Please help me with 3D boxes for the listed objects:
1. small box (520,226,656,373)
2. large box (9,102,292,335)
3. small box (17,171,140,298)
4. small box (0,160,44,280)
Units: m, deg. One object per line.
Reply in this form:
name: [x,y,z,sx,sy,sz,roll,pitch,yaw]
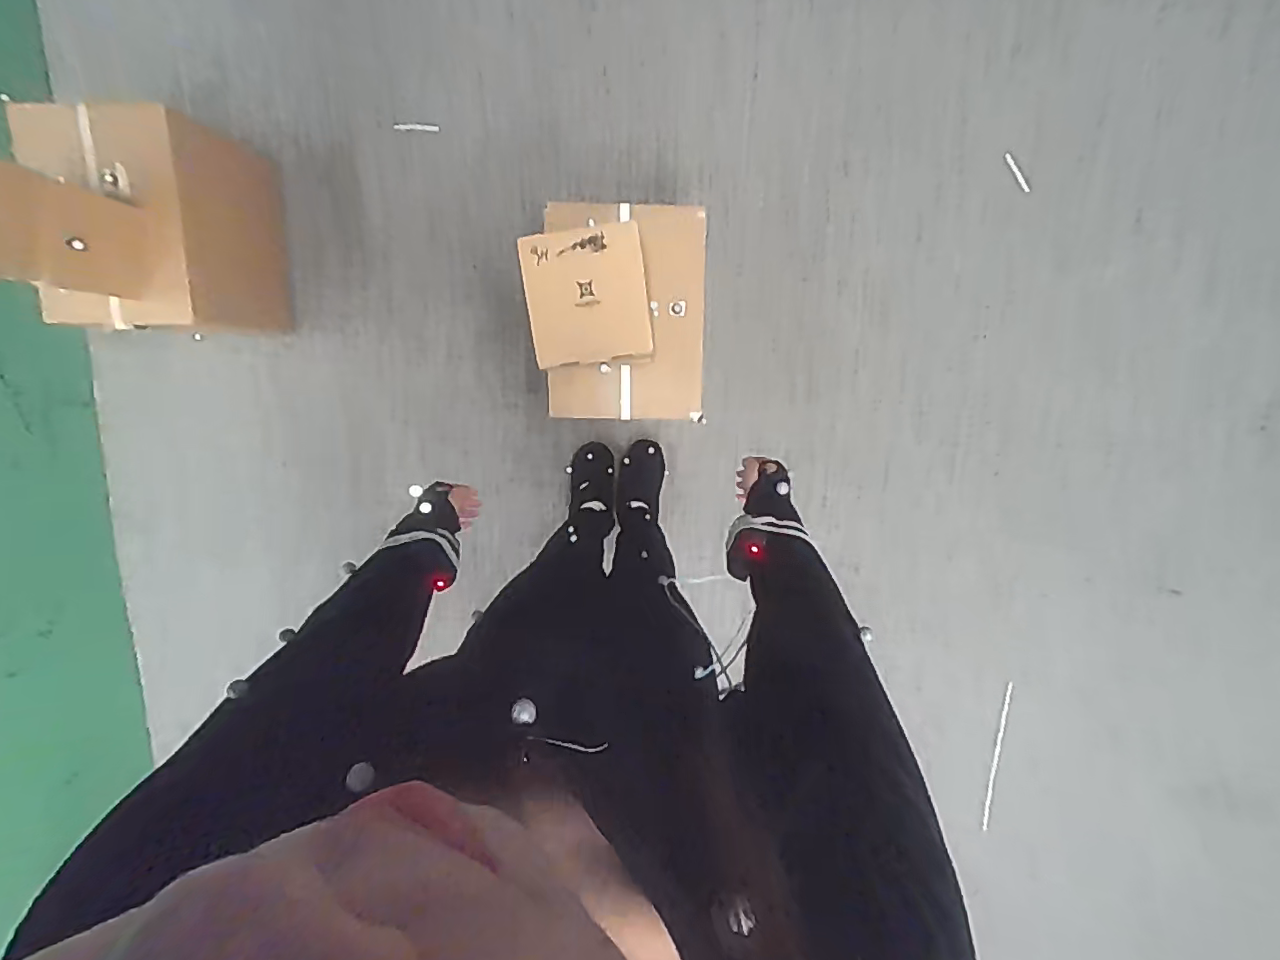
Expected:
small box: [-0.066,-0.261,0.810,0.168,0.176,0.179,-6,102,4]
large box: [-1.034,-0.538,1.194,0.320,0.320,0.408,2,101,1]
small box: [-1.048,-0.440,0.967,0.168,0.176,0.179,12,102,0]
small box: [-1.058,-0.417,0.806,0.168,0.176,0.179,16,103,0]
